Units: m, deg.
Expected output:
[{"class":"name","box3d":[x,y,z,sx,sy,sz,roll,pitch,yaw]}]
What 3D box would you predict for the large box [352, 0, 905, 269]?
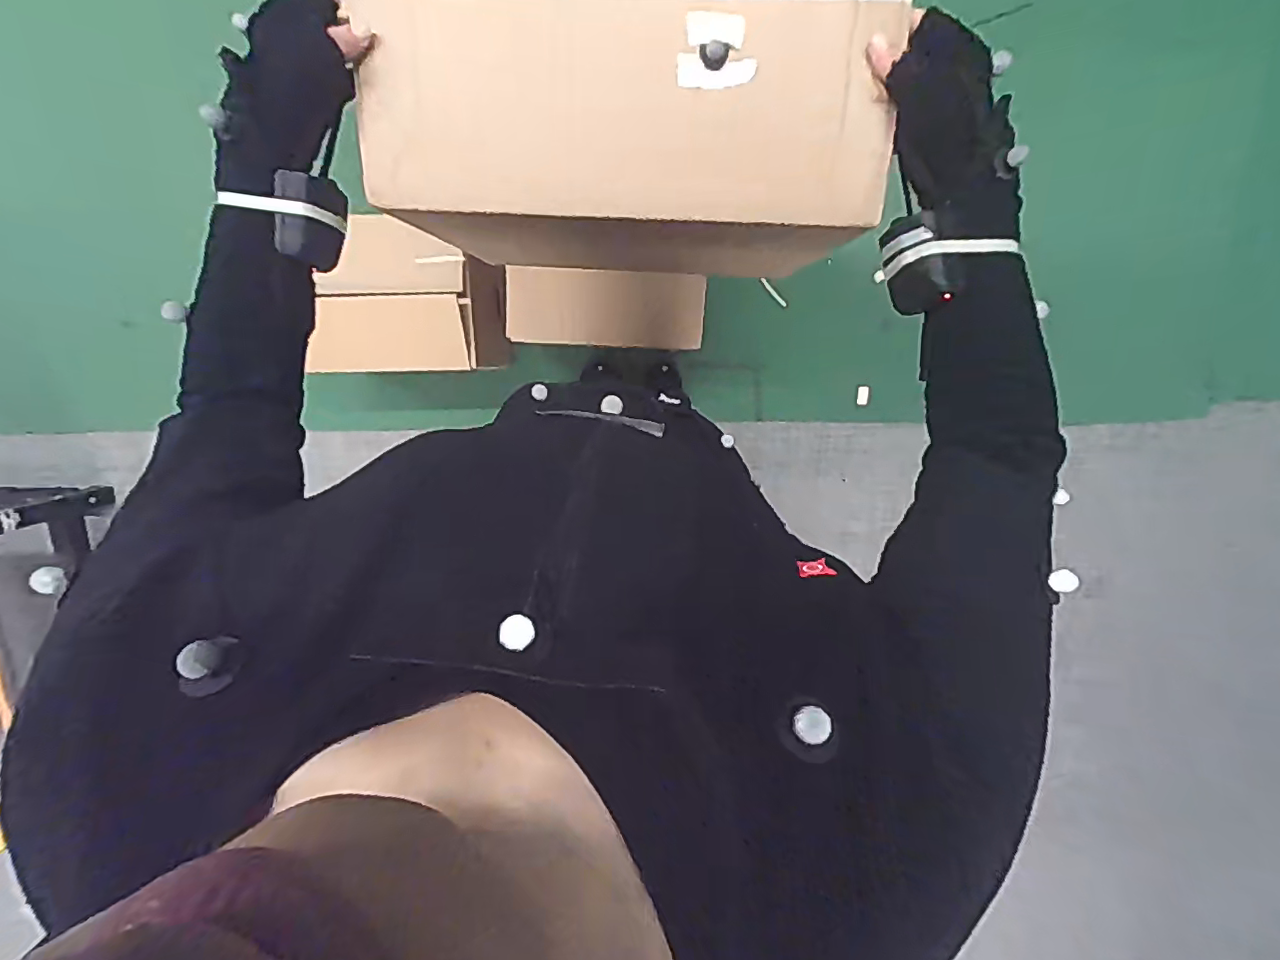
[{"class":"large box","box3d":[-0.008,-0.393,0.528,0.408,0.320,0.320,2,105,0]}]
